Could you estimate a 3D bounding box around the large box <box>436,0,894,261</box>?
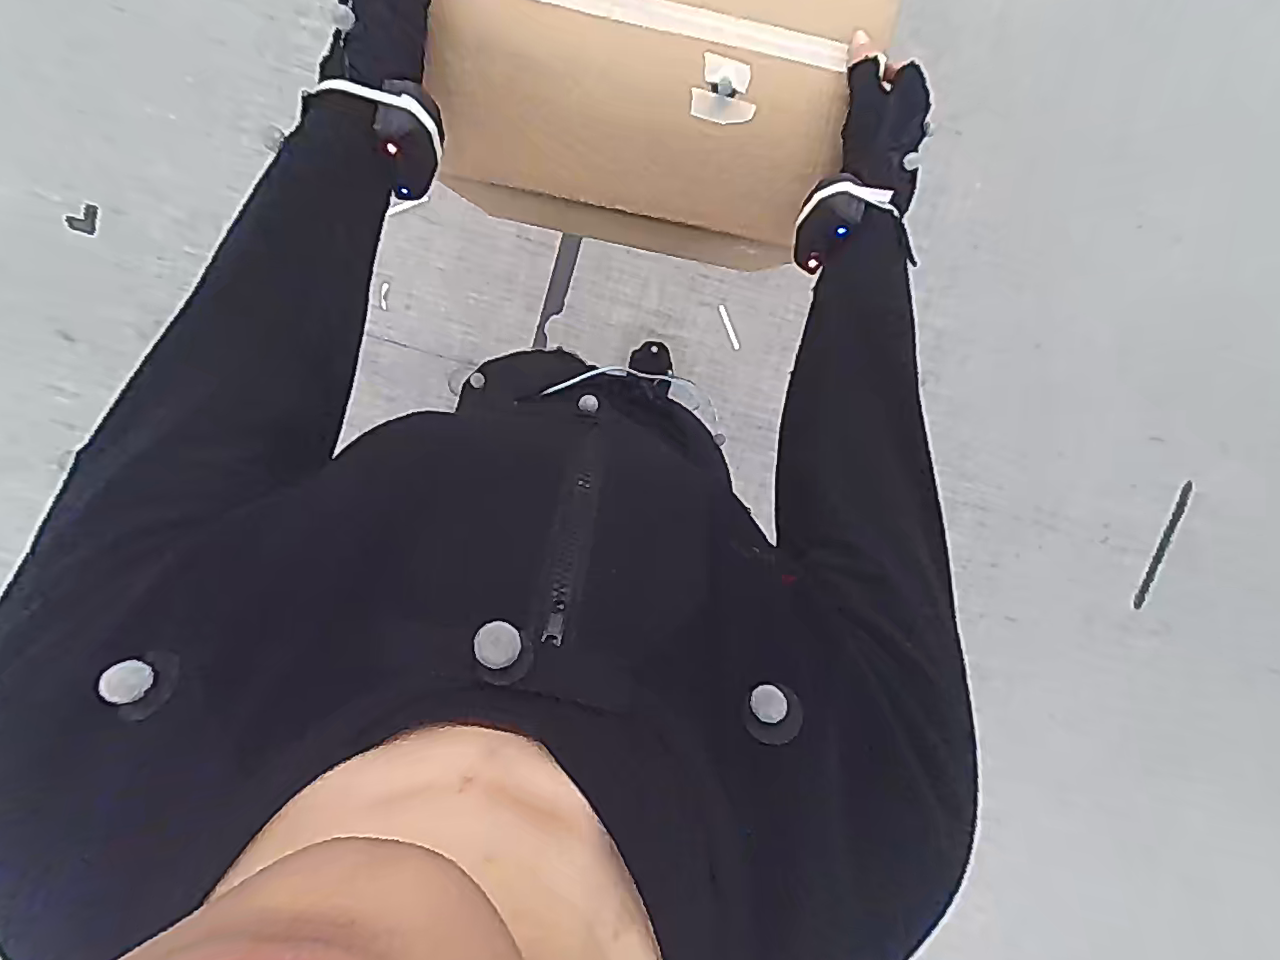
[{"bbox_3d":[0.015,-0.458,0.626,0.408,0.320,0.320,9,109,-6],"label":"large box"}]
